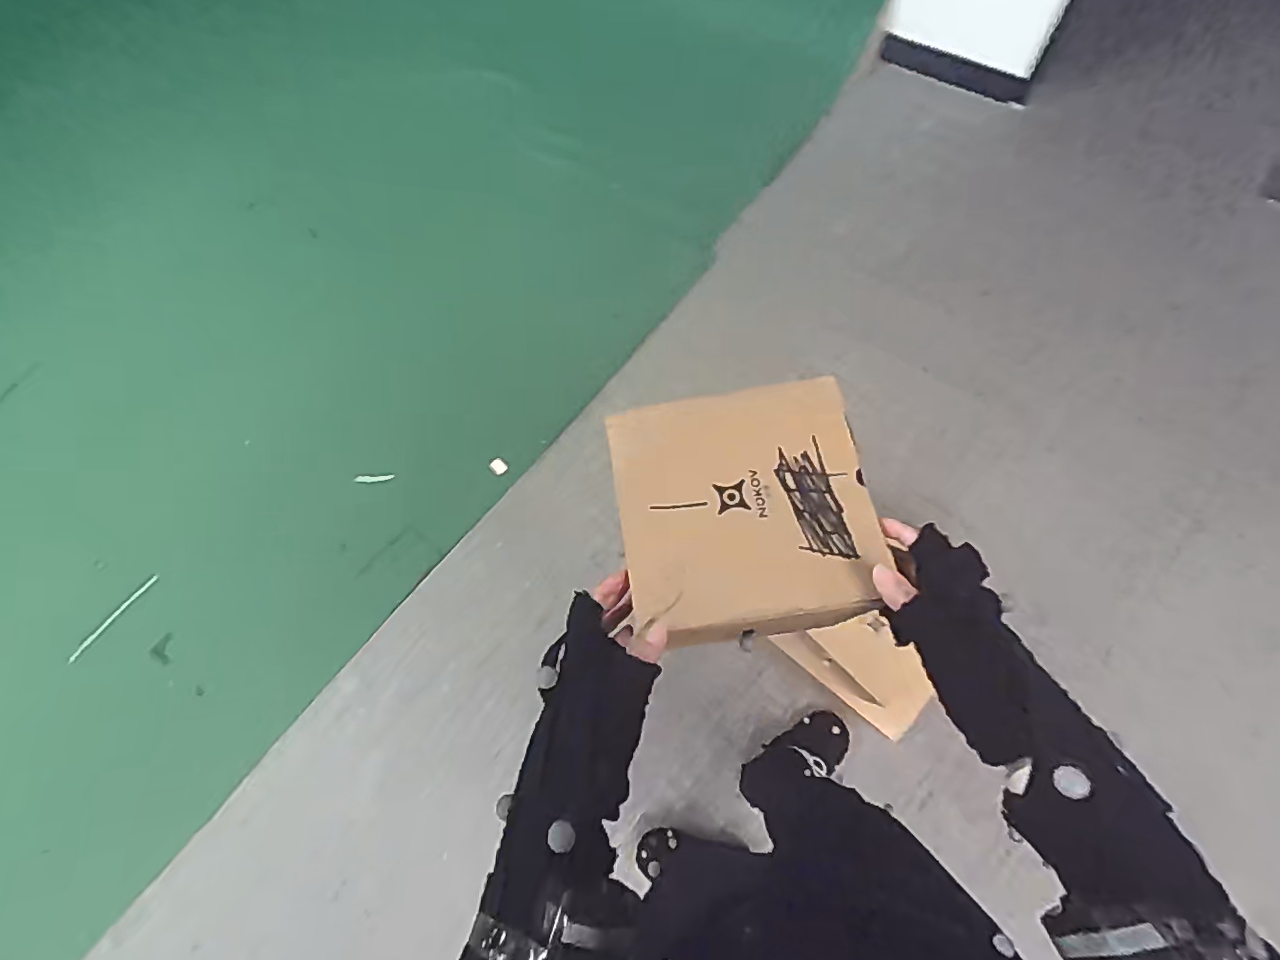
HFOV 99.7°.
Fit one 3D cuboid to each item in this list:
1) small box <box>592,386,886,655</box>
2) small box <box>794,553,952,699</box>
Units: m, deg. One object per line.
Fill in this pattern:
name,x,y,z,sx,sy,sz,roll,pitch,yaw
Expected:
small box,0.066,0.046,0.445,0.179,0.176,0.168,-10,70,0
small box,0.360,0.233,0.896,0.168,0.176,0.179,-44,72,-4
